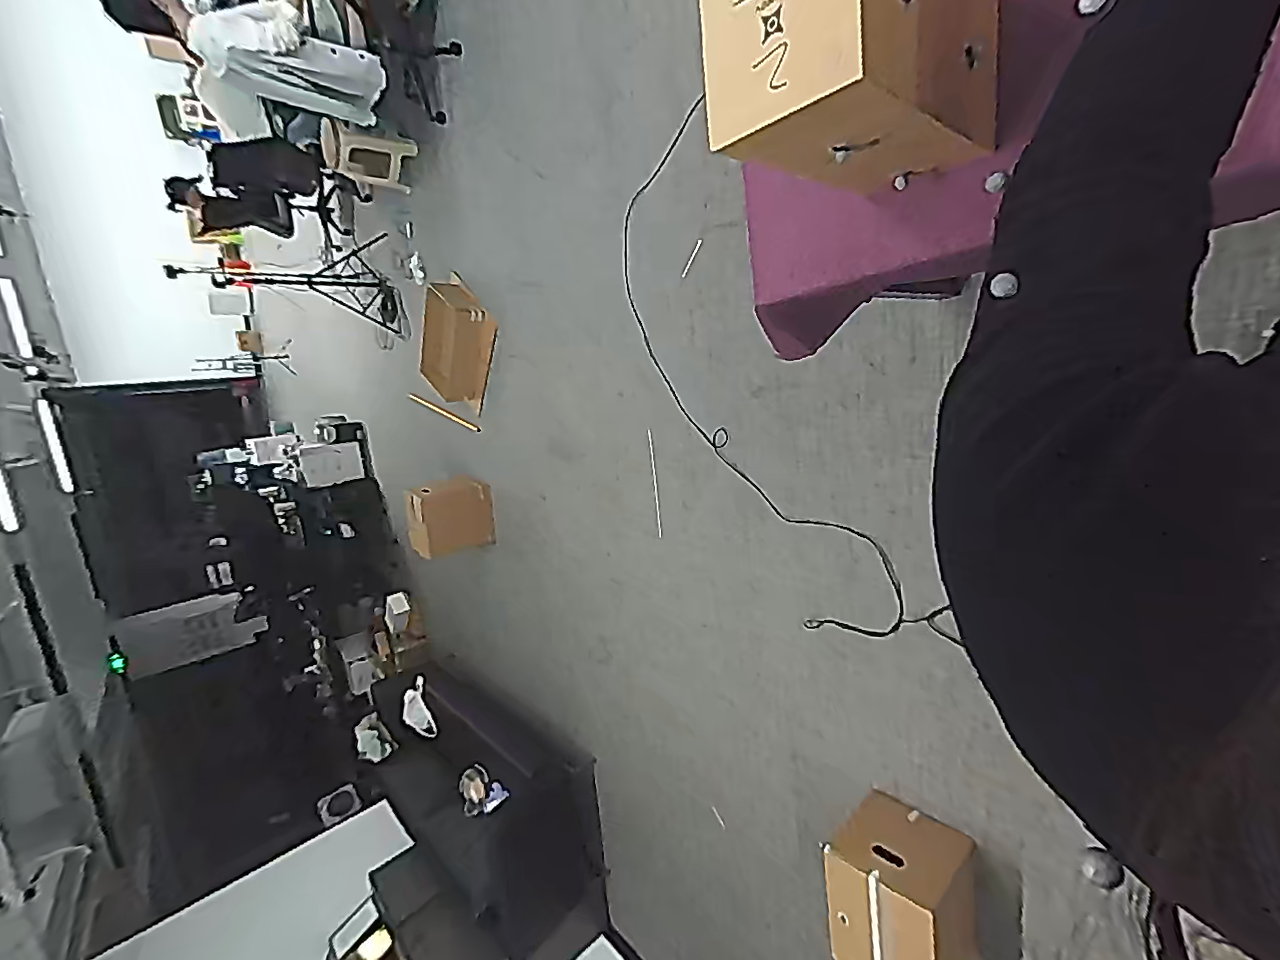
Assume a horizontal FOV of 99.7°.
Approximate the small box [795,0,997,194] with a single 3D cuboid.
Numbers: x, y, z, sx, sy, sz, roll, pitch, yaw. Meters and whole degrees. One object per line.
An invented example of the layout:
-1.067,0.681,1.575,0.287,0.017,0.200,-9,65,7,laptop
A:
0.303,-0.465,0.640,0.168,0.176,0.179,7,107,48,small box
